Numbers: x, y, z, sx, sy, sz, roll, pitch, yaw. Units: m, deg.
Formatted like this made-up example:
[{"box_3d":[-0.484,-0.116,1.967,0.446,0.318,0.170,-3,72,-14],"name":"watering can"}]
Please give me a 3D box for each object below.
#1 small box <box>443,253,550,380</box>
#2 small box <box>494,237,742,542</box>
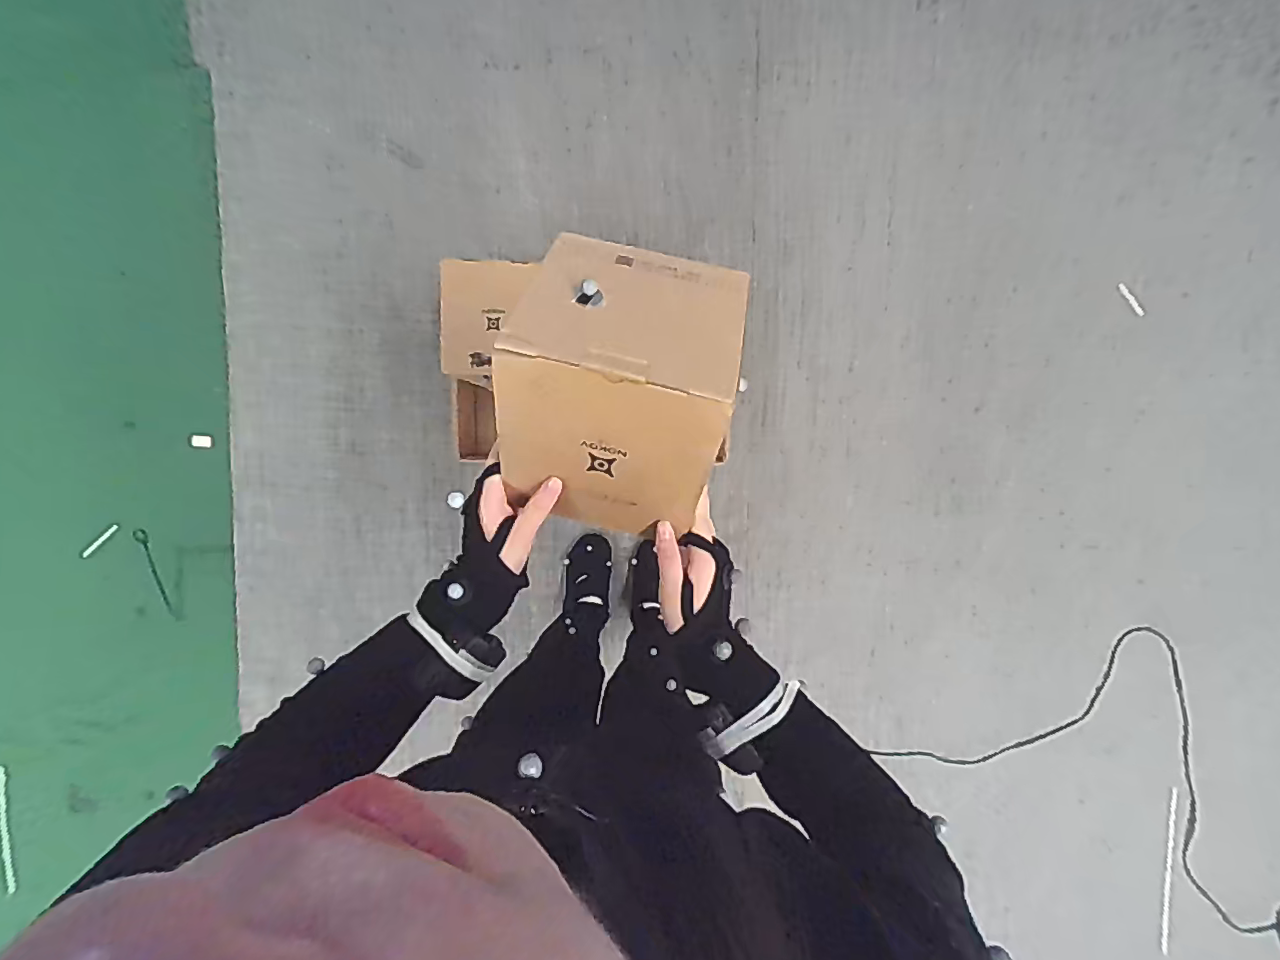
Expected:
[{"box_3d":[-0.222,-0.263,0.916,0.168,0.176,0.179,3,95,-1],"name":"small box"},{"box_3d":[-0.015,-0.077,0.464,0.168,0.179,0.176,14,52,0],"name":"small box"}]
